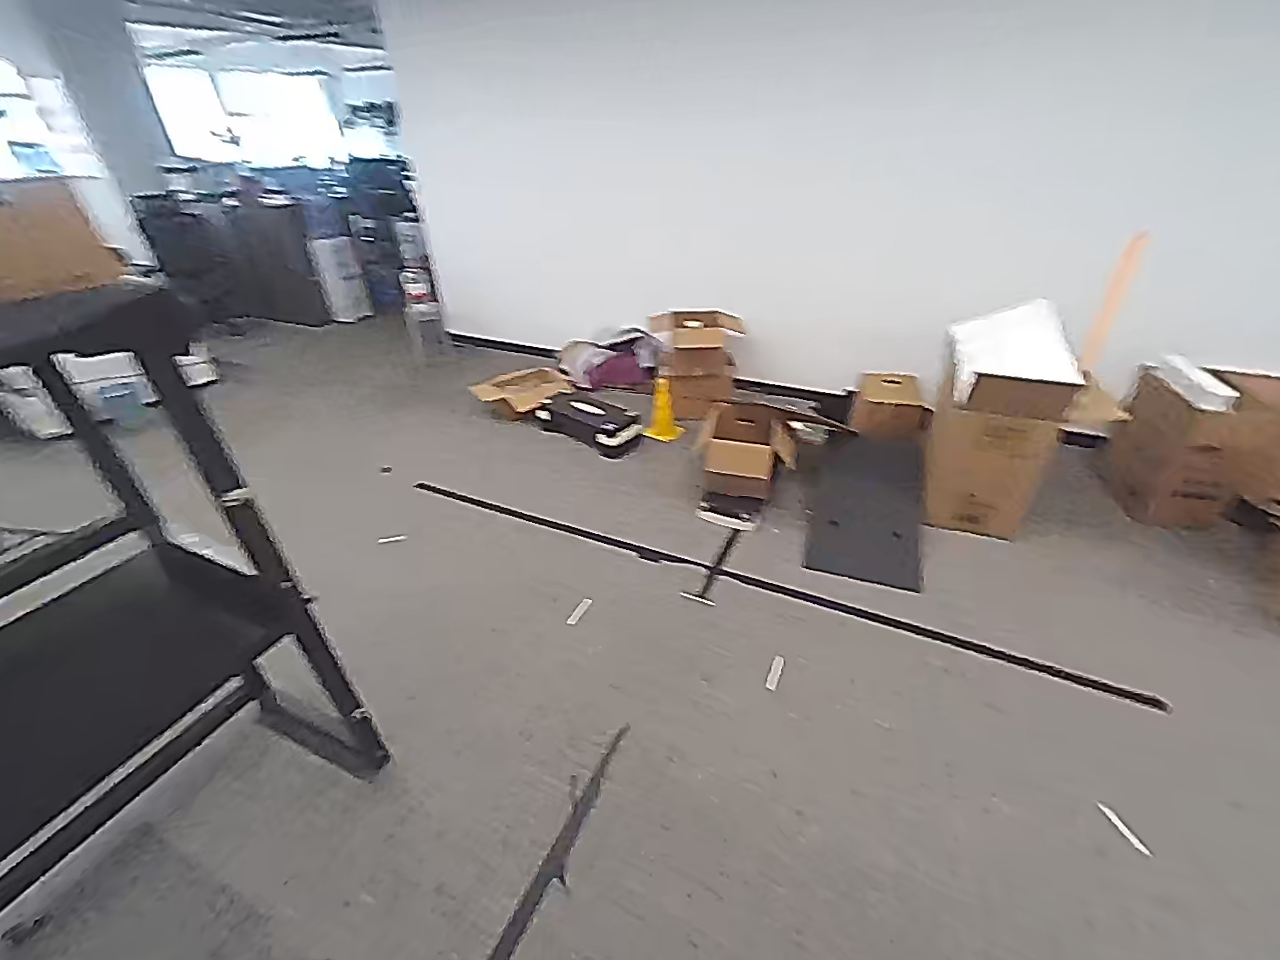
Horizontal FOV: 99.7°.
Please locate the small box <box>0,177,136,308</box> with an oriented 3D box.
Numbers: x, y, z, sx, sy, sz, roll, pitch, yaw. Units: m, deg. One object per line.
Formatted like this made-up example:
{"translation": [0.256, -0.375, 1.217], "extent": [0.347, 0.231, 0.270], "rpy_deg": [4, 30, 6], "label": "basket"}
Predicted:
{"translation": [-0.983, -0.383, 0.868], "extent": [0.179, 0.176, 0.168], "rpy_deg": [13, 37, 23], "label": "small box"}
